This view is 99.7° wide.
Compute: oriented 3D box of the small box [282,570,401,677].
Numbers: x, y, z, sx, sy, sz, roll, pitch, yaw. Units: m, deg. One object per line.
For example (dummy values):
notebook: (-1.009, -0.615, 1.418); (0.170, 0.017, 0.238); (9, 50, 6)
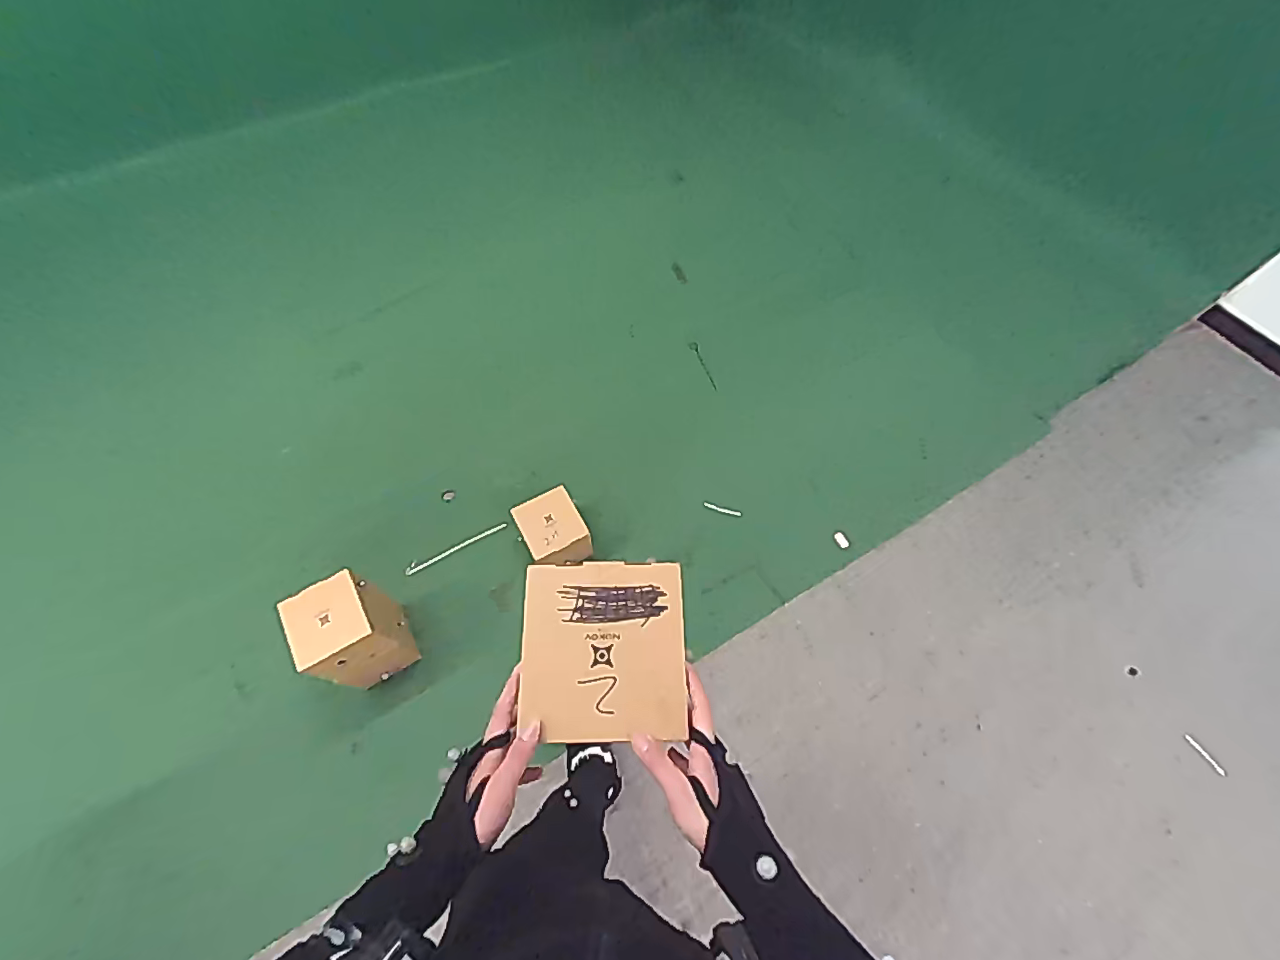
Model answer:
small box: (-0.696, 0.346, 1.278); (0.168, 0.176, 0.179); (-29, 66, -14)

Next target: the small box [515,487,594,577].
small box: (-0.244, 0.155, 1.567); (0.168, 0.176, 0.179); (-26, 66, -14)

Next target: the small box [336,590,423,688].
small box: (-0.701, 0.422, 1.420); (0.168, 0.176, 0.179); (-28, 67, -14)
